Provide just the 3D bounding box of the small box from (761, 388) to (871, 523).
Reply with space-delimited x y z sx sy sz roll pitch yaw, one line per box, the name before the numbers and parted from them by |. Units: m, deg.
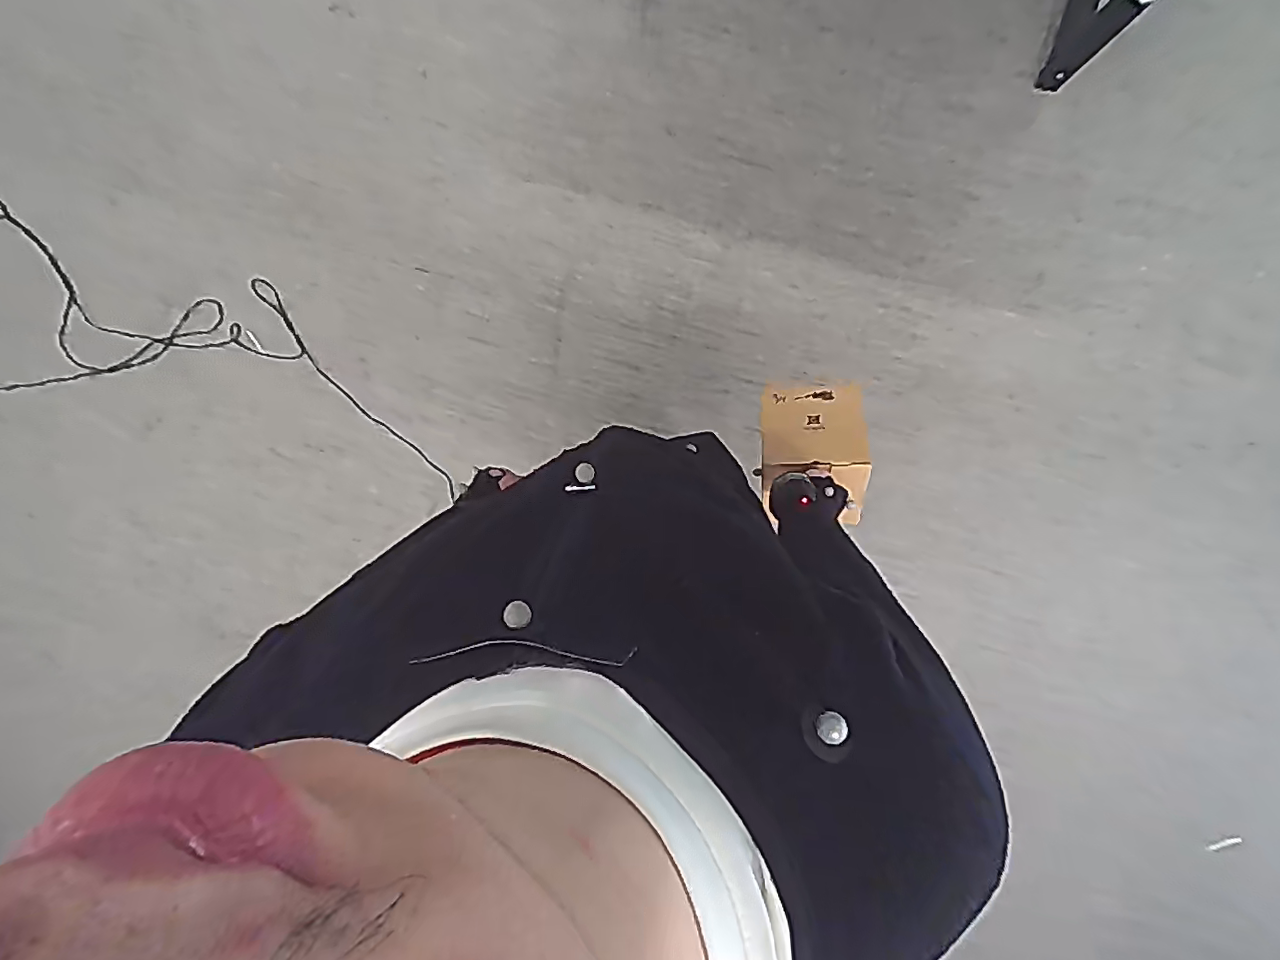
small box | 0.303 -0.035 0.953 0.168 0.176 0.179 -3 51 14
